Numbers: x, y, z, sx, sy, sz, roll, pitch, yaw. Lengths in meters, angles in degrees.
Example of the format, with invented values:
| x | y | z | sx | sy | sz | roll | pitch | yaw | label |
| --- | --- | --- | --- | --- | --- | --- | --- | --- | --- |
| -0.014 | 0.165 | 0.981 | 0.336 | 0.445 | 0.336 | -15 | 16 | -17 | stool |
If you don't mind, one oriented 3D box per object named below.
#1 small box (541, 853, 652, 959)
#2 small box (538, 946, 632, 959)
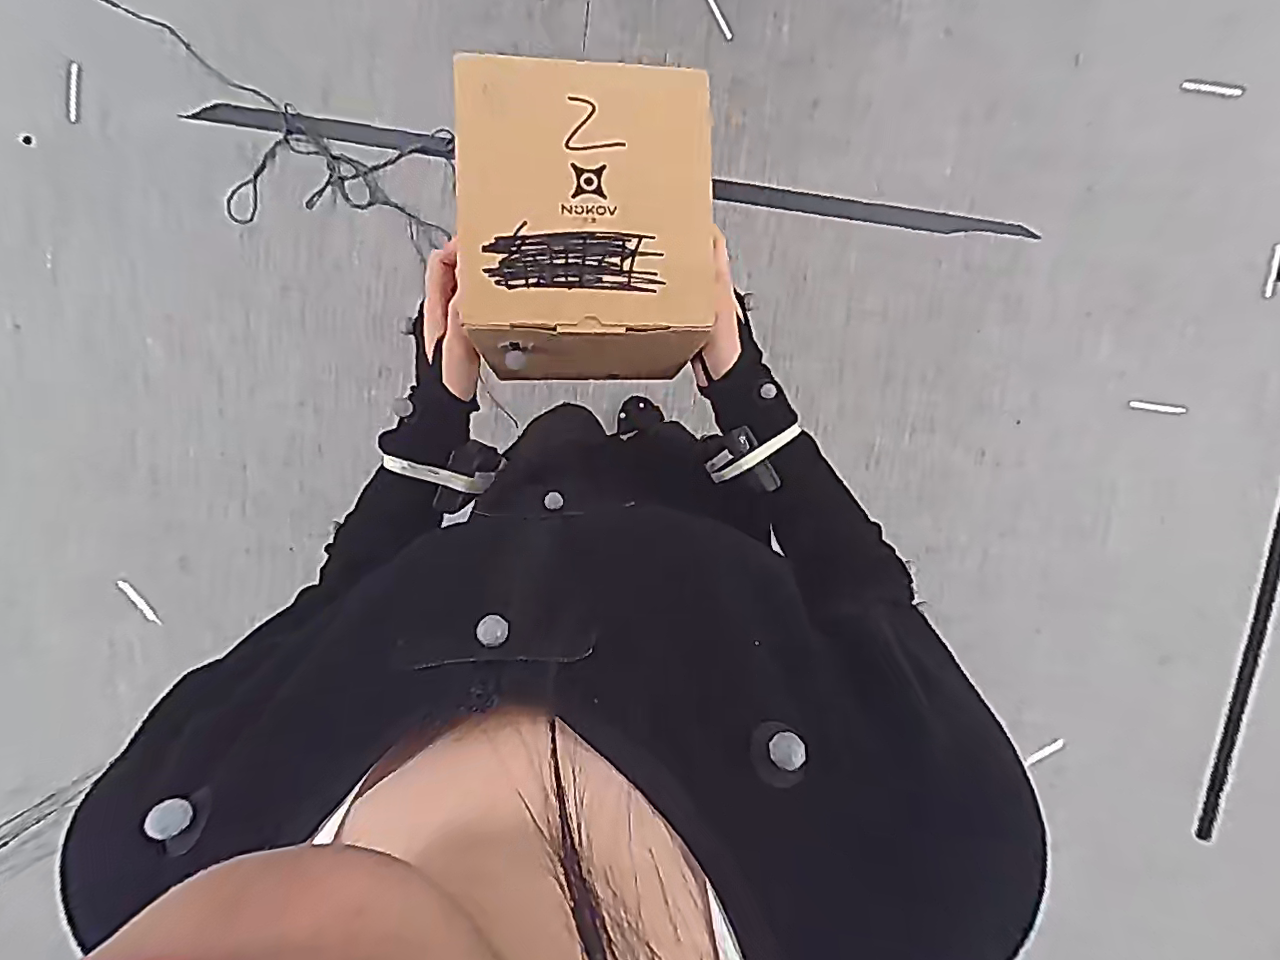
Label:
| x | y | z | sx | sy | sz | roll | pitch | yaw | label |
| --- | --- | --- | --- | --- | --- | --- | --- | --- | --- |
| -0.071 | 0.758 | 0.878 | 0.168 | 0.176 | 0.179 | 6 | 96 | -1 | small box |
| -0.073 | 0.773 | 0.716 | 0.168 | 0.176 | 0.179 | 7 | 97 | -1 | small box |
